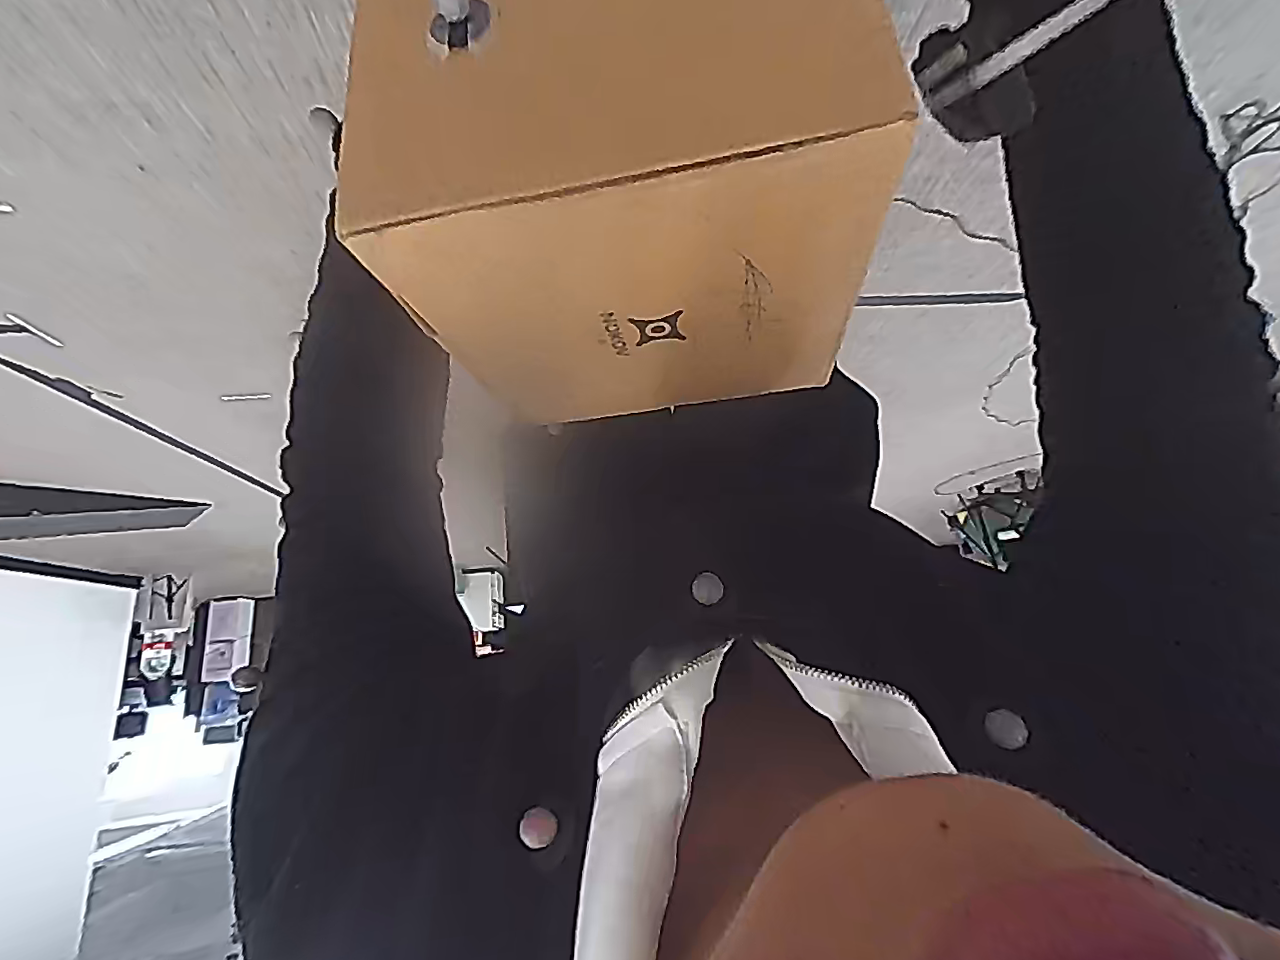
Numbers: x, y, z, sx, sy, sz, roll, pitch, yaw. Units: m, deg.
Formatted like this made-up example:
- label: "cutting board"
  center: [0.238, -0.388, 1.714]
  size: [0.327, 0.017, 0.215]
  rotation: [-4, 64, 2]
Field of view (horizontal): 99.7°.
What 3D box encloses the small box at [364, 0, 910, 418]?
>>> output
- label: "small box"
  center: [-0.001, -0.150, 0.264]
  size: [0.179, 0.176, 0.168]
  rotation: [-9, 164, 8]
